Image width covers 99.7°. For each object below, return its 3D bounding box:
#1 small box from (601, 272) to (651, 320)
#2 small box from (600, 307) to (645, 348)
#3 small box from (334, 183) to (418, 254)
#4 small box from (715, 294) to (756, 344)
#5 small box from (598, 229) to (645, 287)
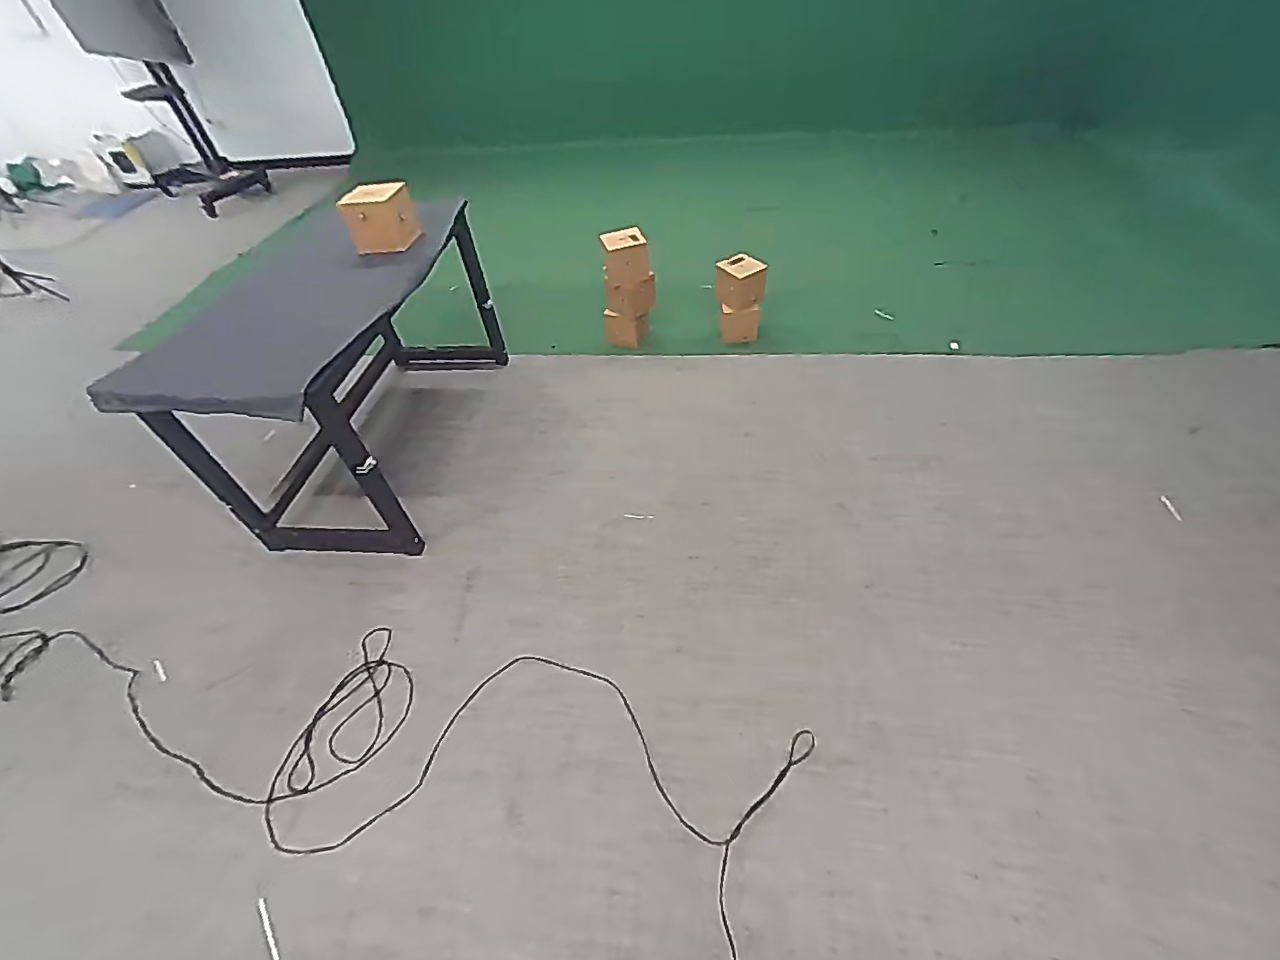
[{"bbox_3d":[-0.059,-0.875,2.525,0.168,0.176,0.179,33,57,29],"label":"small box"},{"bbox_3d":[-0.079,-0.771,2.652,0.168,0.176,0.179,15,50,17],"label":"small box"},{"bbox_3d":[-0.888,-0.888,1.841,0.179,0.176,0.168,0,47,8],"label":"small box"},{"bbox_3d":[0.455,-0.776,2.607,0.168,0.176,0.179,-5,46,0],"label":"small box"},{"bbox_3d":[-0.079,-0.987,2.406,0.179,0.176,0.168,-16,49,-8],"label":"small box"}]
